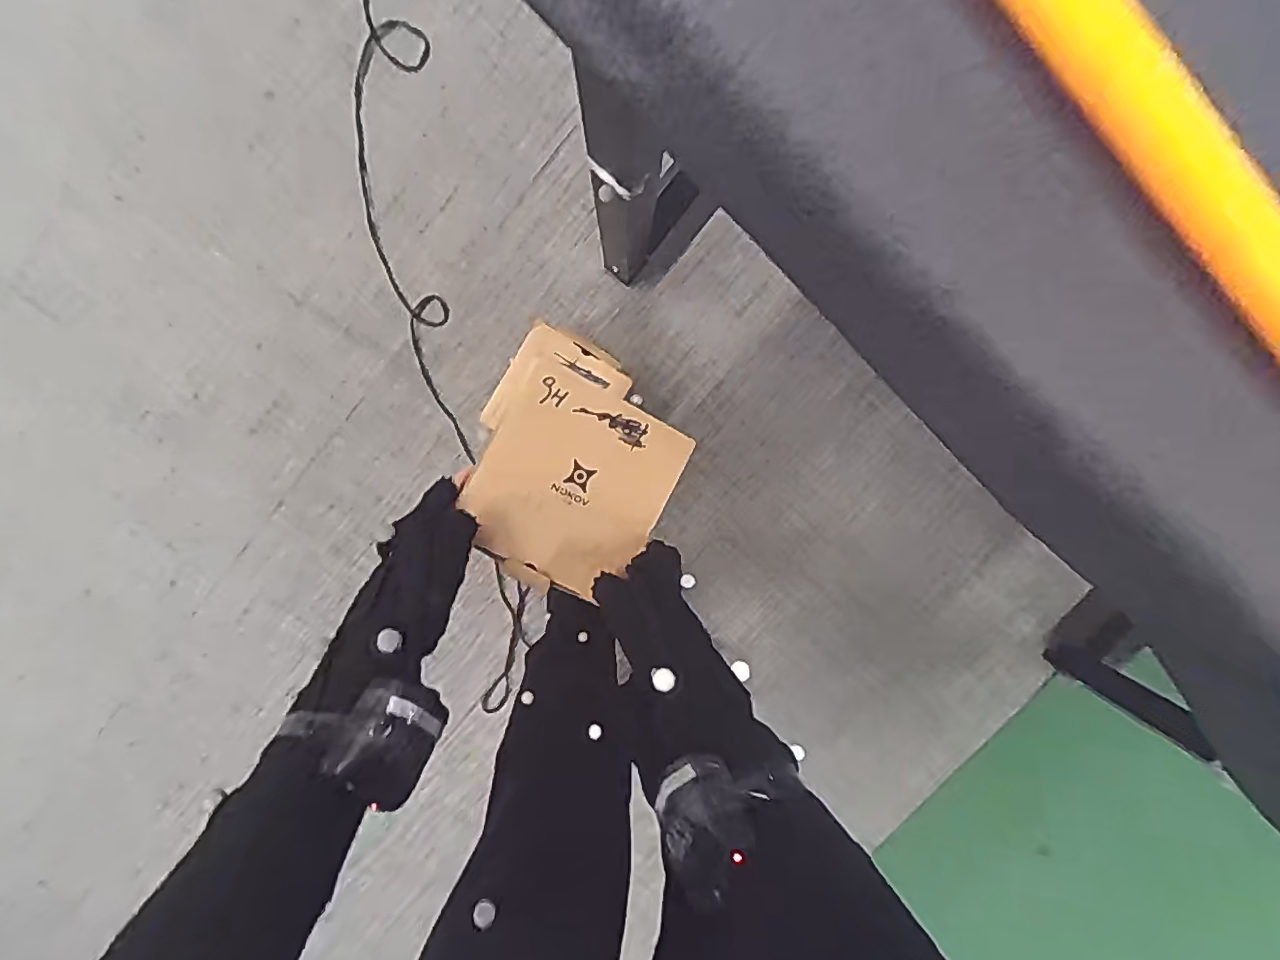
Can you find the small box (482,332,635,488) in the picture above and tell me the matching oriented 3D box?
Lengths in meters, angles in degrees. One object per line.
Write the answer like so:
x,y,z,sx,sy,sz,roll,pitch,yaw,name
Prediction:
-0.125,-0.113,0.874,0.168,0.176,0.179,33,97,-6,small box
